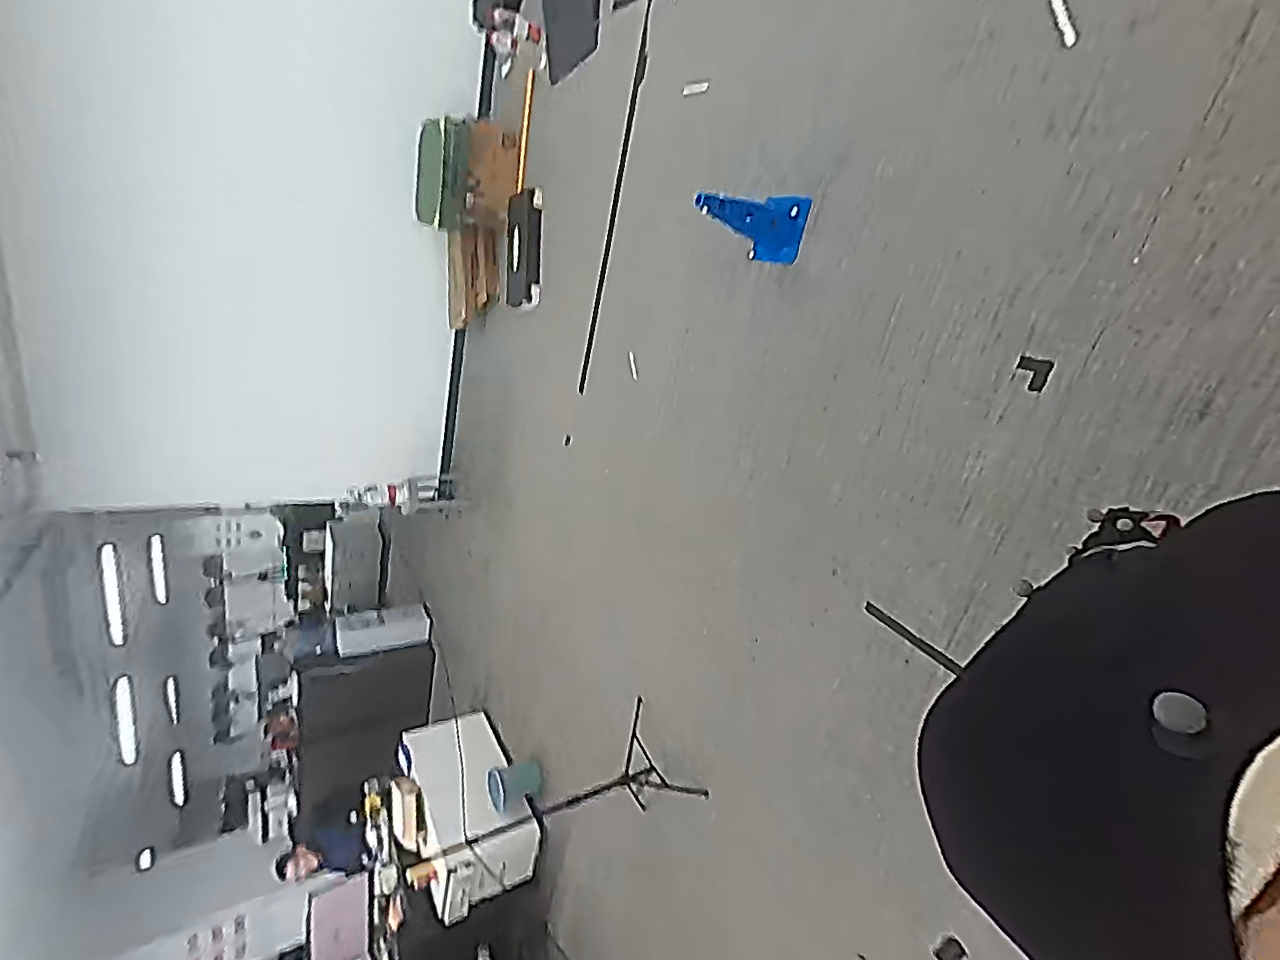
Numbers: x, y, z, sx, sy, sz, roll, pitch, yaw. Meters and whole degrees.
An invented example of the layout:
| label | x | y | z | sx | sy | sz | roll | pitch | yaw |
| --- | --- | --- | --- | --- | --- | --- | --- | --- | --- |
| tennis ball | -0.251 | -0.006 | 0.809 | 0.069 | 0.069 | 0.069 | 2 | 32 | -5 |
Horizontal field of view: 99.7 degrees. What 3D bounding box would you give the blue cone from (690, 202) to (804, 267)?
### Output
| label | x | y | z | sx | sy | sz | roll | pitch | yaw |
| --- | --- | --- | --- | --- | --- | --- | --- | --- | --- |
| blue cone | 0.310 | -0.791 | 1.661 | 0.193 | 0.380 | 0.192 | 37 | 122 | 47 |
